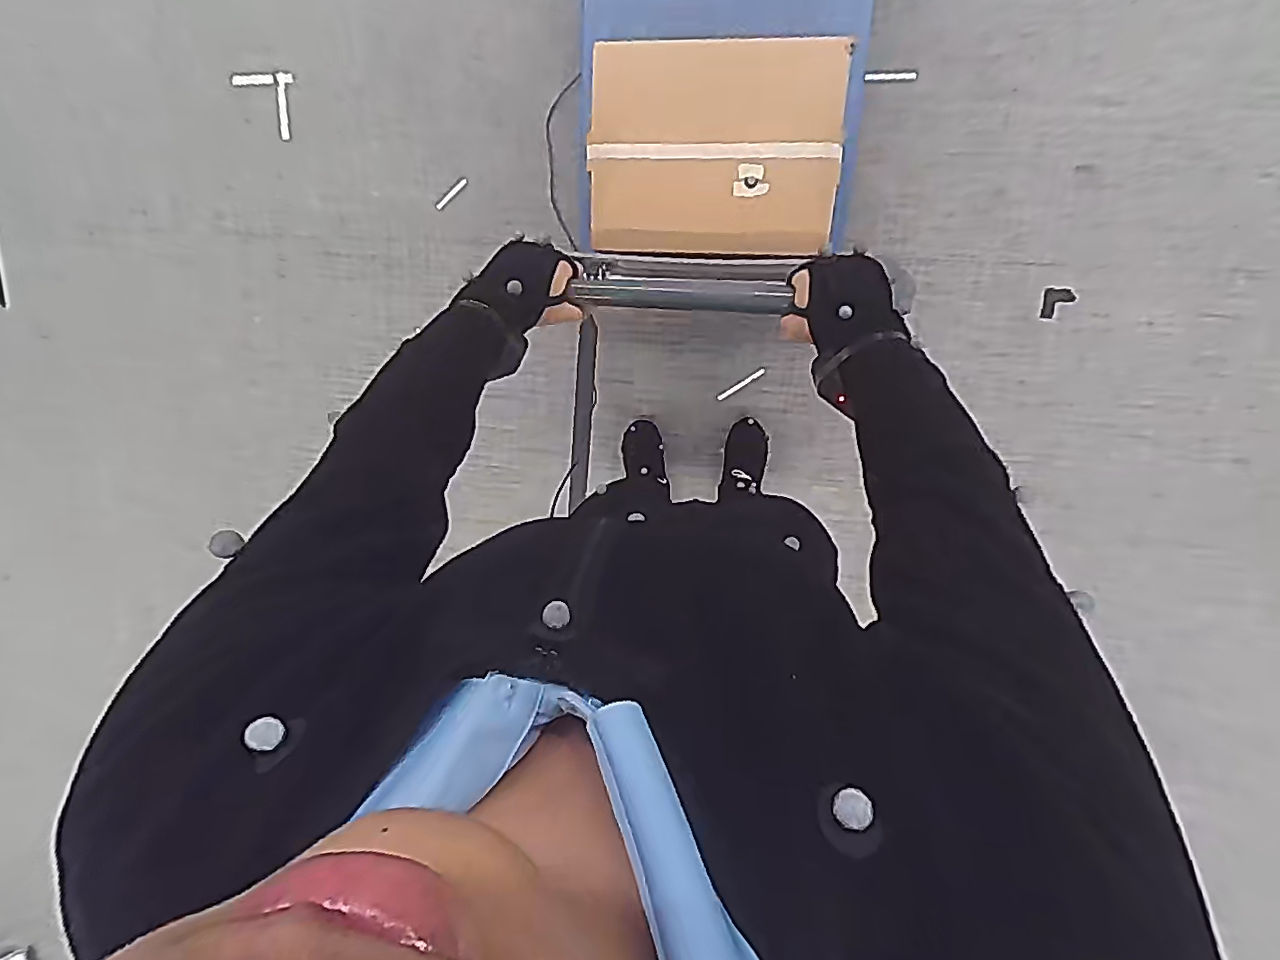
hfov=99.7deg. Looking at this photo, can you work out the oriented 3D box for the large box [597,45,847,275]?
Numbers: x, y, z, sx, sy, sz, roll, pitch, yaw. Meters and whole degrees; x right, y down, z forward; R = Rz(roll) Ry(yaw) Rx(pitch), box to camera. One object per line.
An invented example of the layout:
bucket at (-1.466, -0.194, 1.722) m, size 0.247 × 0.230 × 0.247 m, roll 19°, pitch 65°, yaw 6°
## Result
large box at (0.140, -0.577, 1.043) m, size 0.408 × 0.320 × 0.320 m, roll 4°, pitch 106°, yaw 6°
